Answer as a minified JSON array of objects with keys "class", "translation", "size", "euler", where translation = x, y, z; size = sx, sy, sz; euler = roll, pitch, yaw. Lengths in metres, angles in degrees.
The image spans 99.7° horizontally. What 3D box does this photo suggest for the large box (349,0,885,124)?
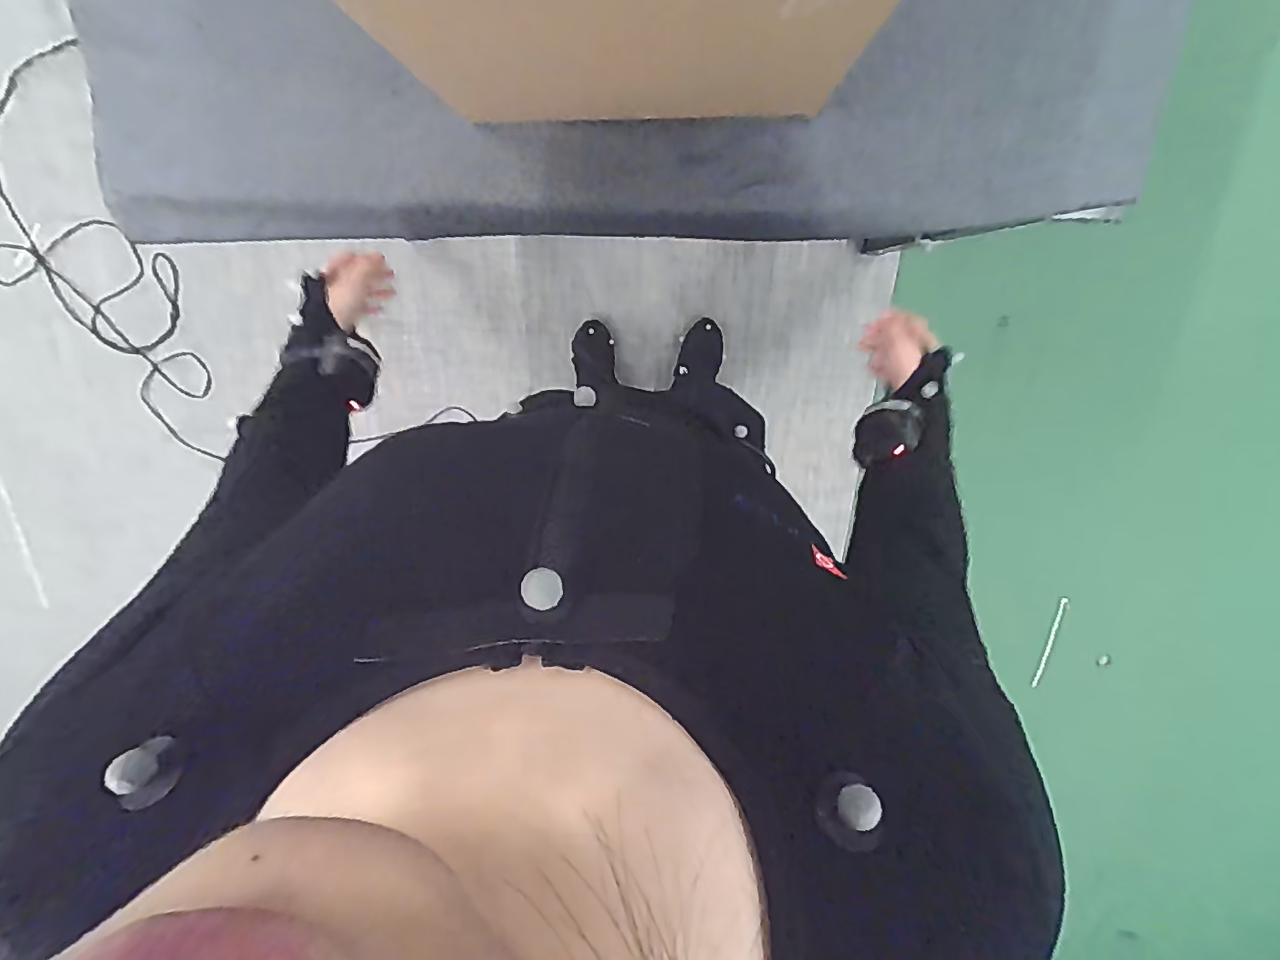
[{"class":"large box","translation":[-0.013,-0.520,0.437],"size":[0.408,0.320,0.320],"euler":[-1,109,2]}]
